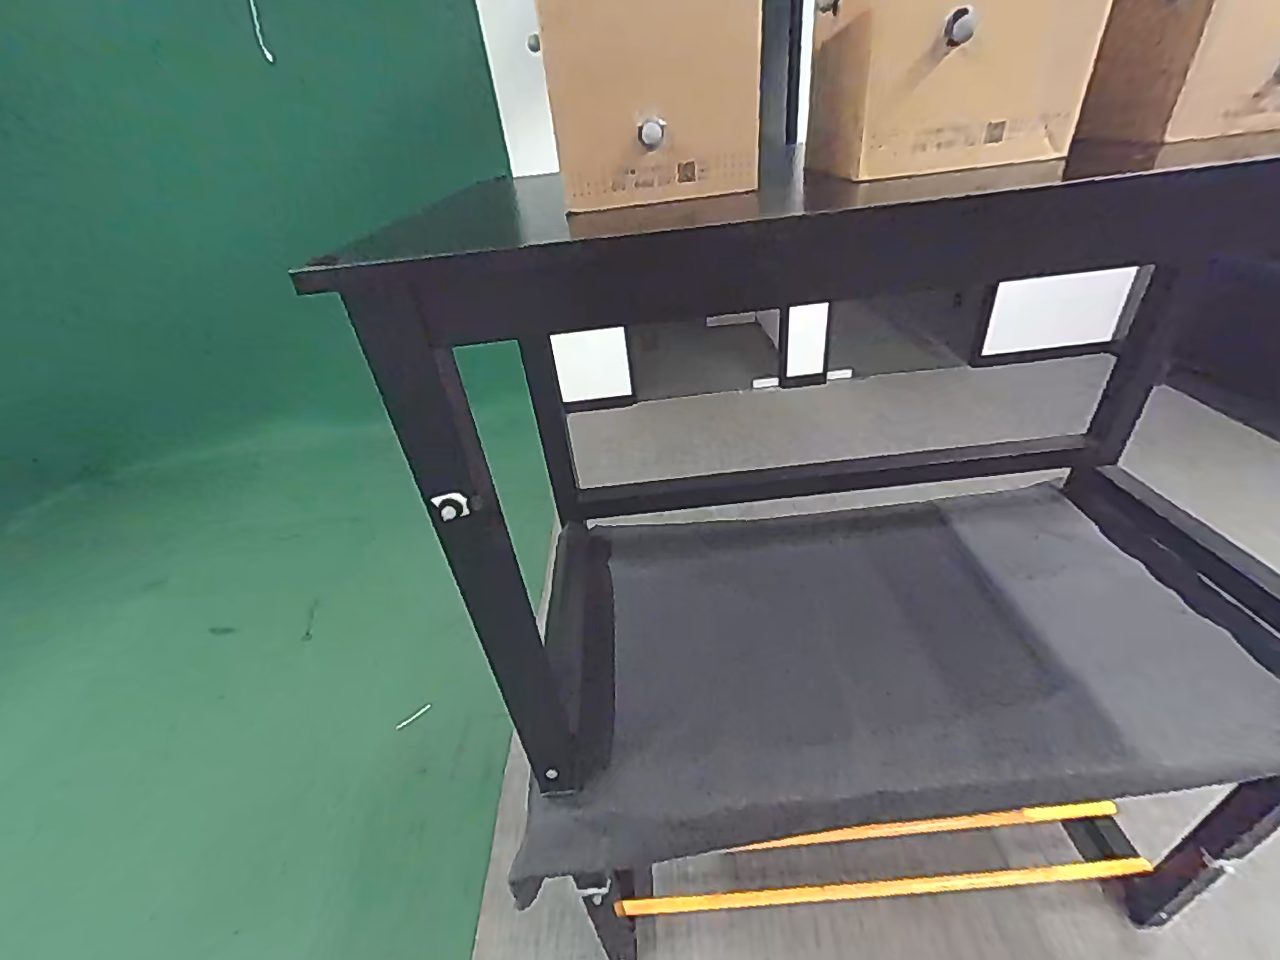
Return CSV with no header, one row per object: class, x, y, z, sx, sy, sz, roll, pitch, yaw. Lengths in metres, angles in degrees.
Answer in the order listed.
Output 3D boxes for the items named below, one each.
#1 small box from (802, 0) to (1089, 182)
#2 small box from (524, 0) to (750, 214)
small box,0.240,-0.357,0.455,0.168,0.176,0.179,-5,33,4
small box,-0.004,-0.344,0.482,0.168,0.176,0.179,-8,34,-1
